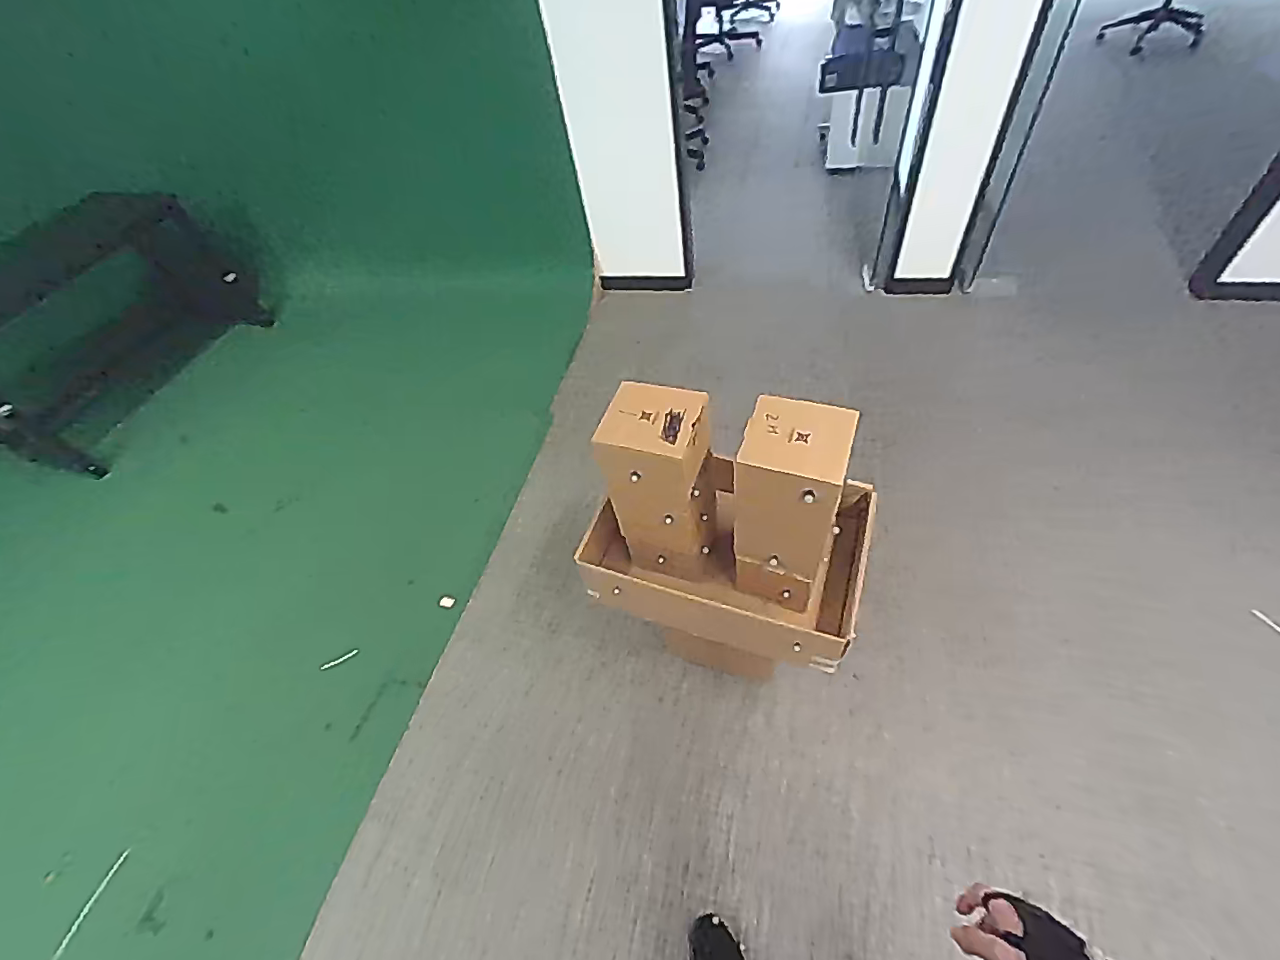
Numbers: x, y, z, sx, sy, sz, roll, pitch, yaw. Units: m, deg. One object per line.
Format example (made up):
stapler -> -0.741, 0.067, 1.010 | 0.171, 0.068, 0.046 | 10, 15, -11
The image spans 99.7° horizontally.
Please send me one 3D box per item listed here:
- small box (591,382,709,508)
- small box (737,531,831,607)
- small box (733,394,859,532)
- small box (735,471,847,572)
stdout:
small box -> 0.030, -0.065, 1.054 | 0.179, 0.176, 0.168 | 11, 57, 19
small box -> 0.332, 0.163, 1.234 | 0.168, 0.176, 0.179 | 17, 59, 22
small box -> 0.275, -0.026, 0.972 | 0.179, 0.176, 0.168 | 14, 58, 20
small box -> 0.304, 0.067, 1.106 | 0.179, 0.176, 0.168 | 17, 59, 21
